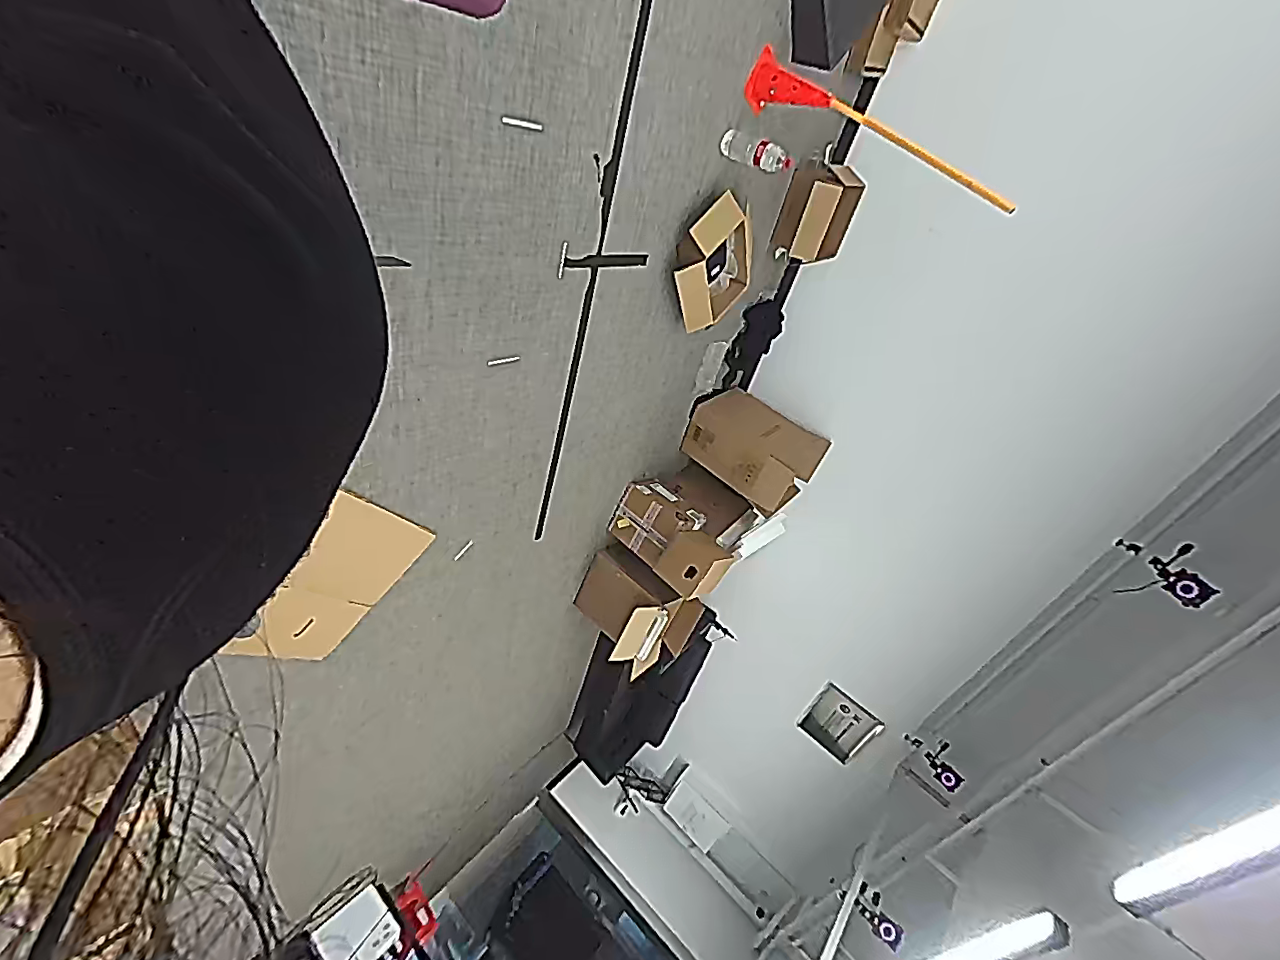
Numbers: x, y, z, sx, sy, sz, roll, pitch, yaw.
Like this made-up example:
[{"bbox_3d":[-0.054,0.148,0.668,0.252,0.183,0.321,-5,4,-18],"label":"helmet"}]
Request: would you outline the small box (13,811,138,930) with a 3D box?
[{"bbox_3d":[-1.475,1.012,1.414,0.168,0.176,0.179,-29,147,-43],"label":"small box"}]
